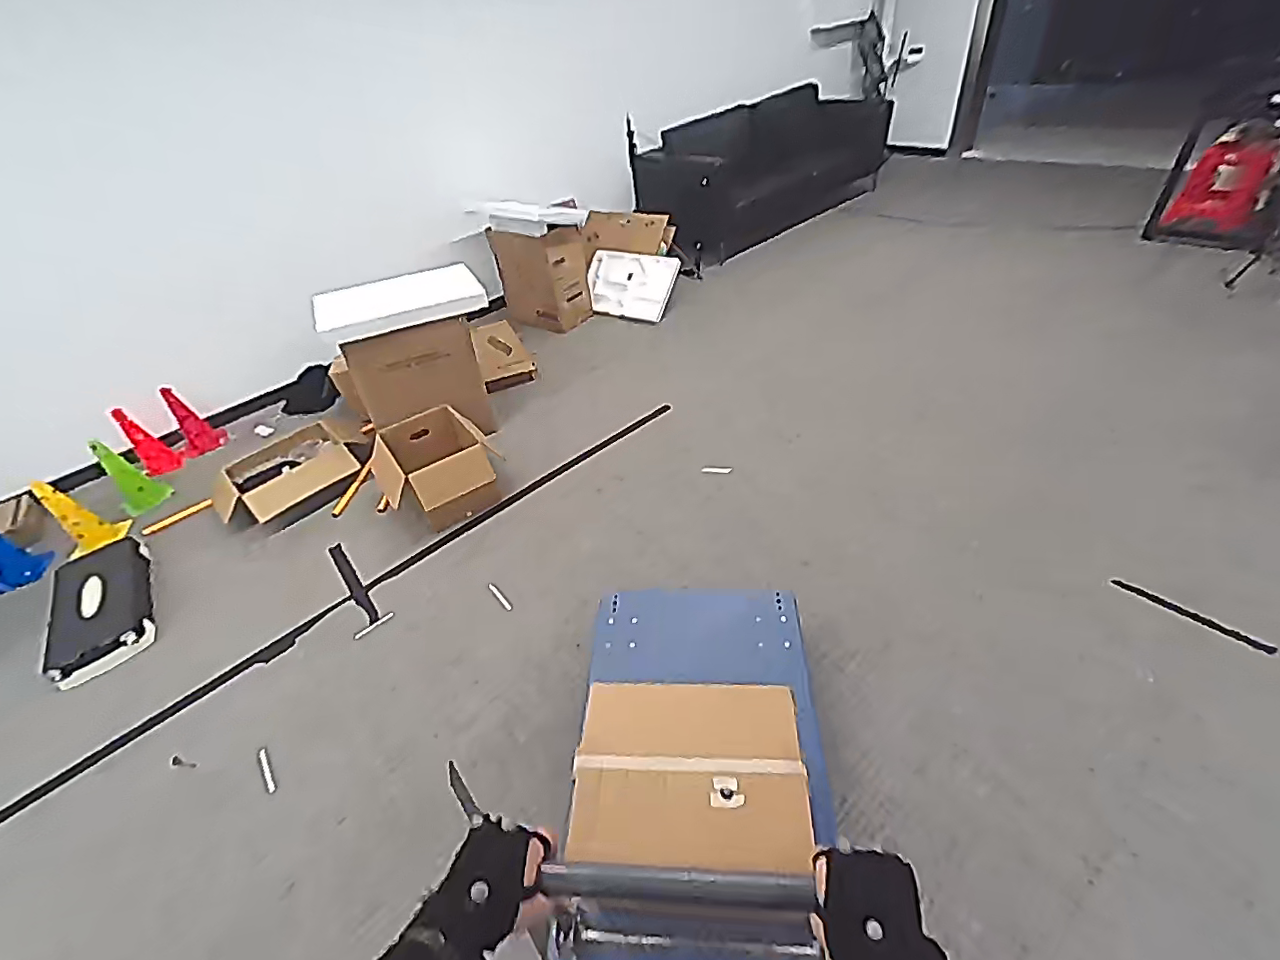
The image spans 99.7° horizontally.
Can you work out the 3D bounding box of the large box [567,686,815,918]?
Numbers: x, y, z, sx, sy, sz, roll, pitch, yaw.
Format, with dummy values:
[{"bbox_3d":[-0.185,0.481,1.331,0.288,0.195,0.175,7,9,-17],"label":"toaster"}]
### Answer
[{"bbox_3d":[0.098,0.628,1.065,0.408,0.320,0.320,-1,42,7],"label":"large box"}]
